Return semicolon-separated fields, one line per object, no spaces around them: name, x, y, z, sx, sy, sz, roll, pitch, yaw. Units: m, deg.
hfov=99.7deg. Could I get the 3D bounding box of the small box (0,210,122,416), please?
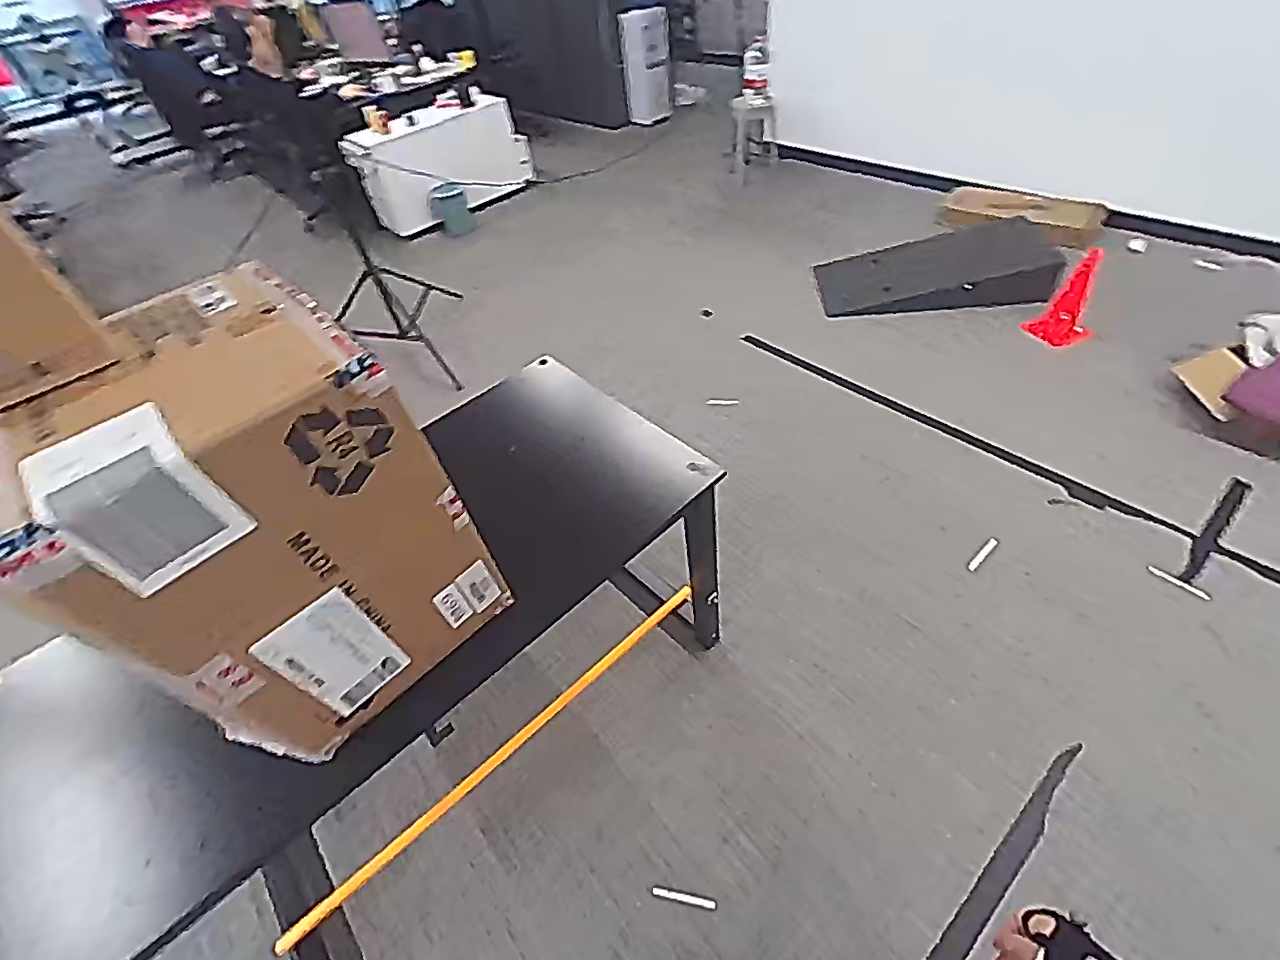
small box;-0.669;-0.169;0.526;0.179;0.176;0.168;30;56;33
